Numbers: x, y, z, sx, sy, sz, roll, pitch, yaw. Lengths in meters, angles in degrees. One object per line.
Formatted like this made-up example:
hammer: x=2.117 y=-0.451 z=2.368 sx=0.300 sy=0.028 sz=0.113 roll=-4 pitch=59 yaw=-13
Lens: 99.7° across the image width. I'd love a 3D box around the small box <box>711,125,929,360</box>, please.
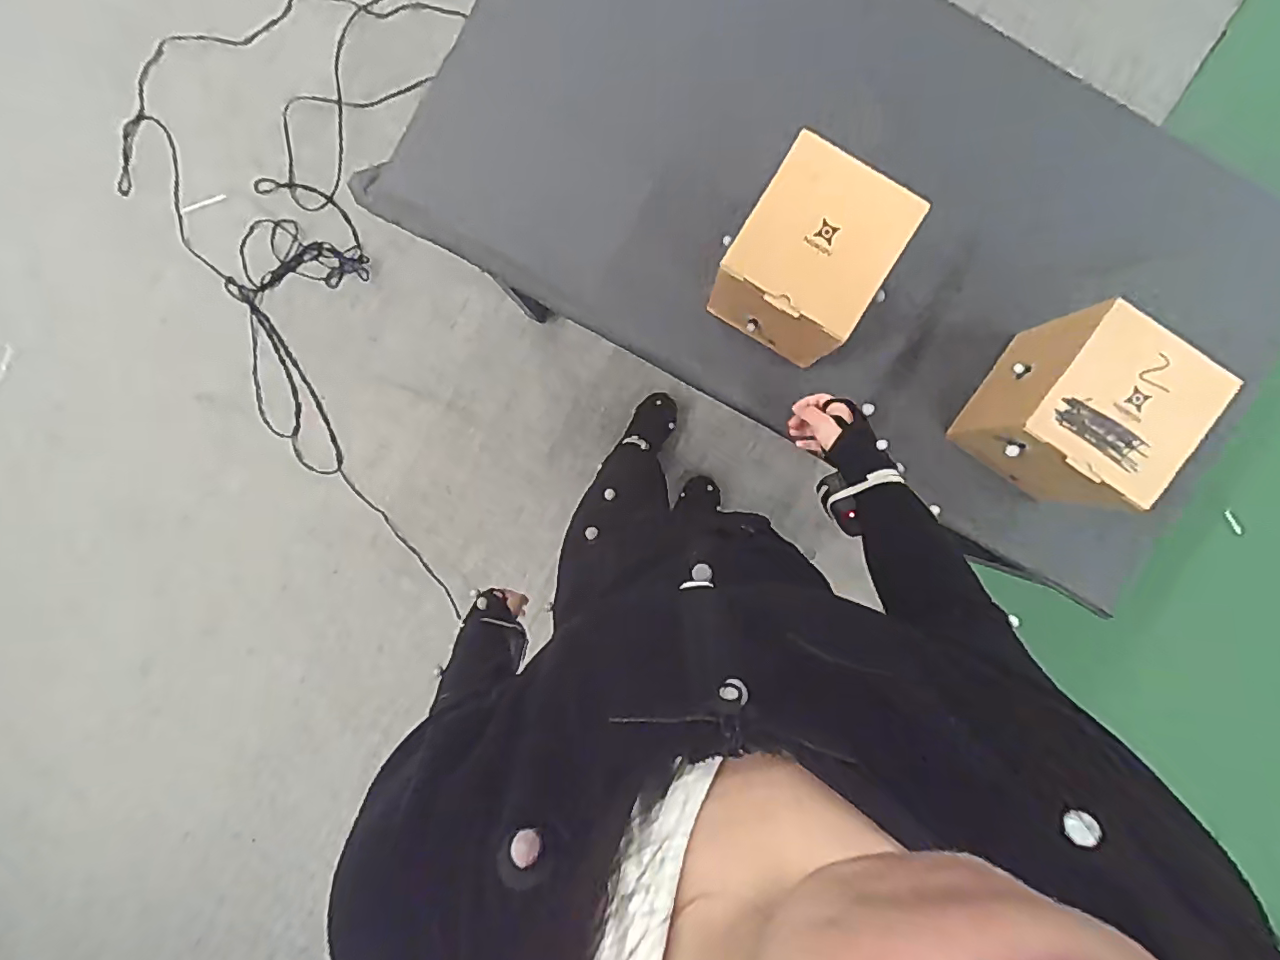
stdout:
small box: x=0.203 y=-0.273 z=0.667 sx=0.168 sy=0.176 sz=0.179 roll=31 pitch=92 yaw=-1
